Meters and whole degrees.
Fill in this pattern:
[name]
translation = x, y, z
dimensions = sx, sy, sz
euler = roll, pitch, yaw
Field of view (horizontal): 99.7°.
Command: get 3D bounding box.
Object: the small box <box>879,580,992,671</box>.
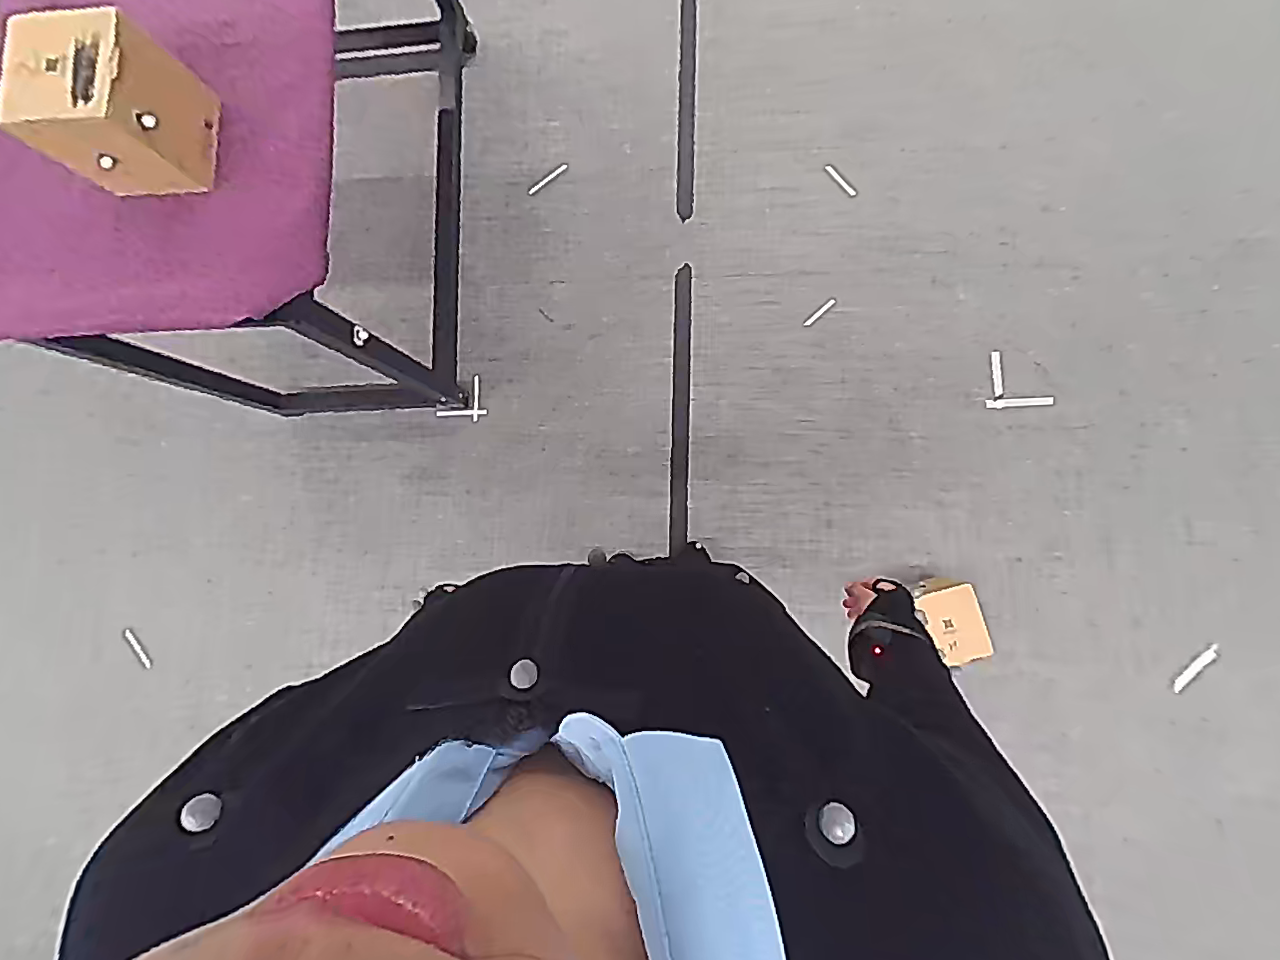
[small box]
translation = 0.727, 0.354, 1.352
dimensions = 0.168, 0.176, 0.179
euler = -16, 84, 3
